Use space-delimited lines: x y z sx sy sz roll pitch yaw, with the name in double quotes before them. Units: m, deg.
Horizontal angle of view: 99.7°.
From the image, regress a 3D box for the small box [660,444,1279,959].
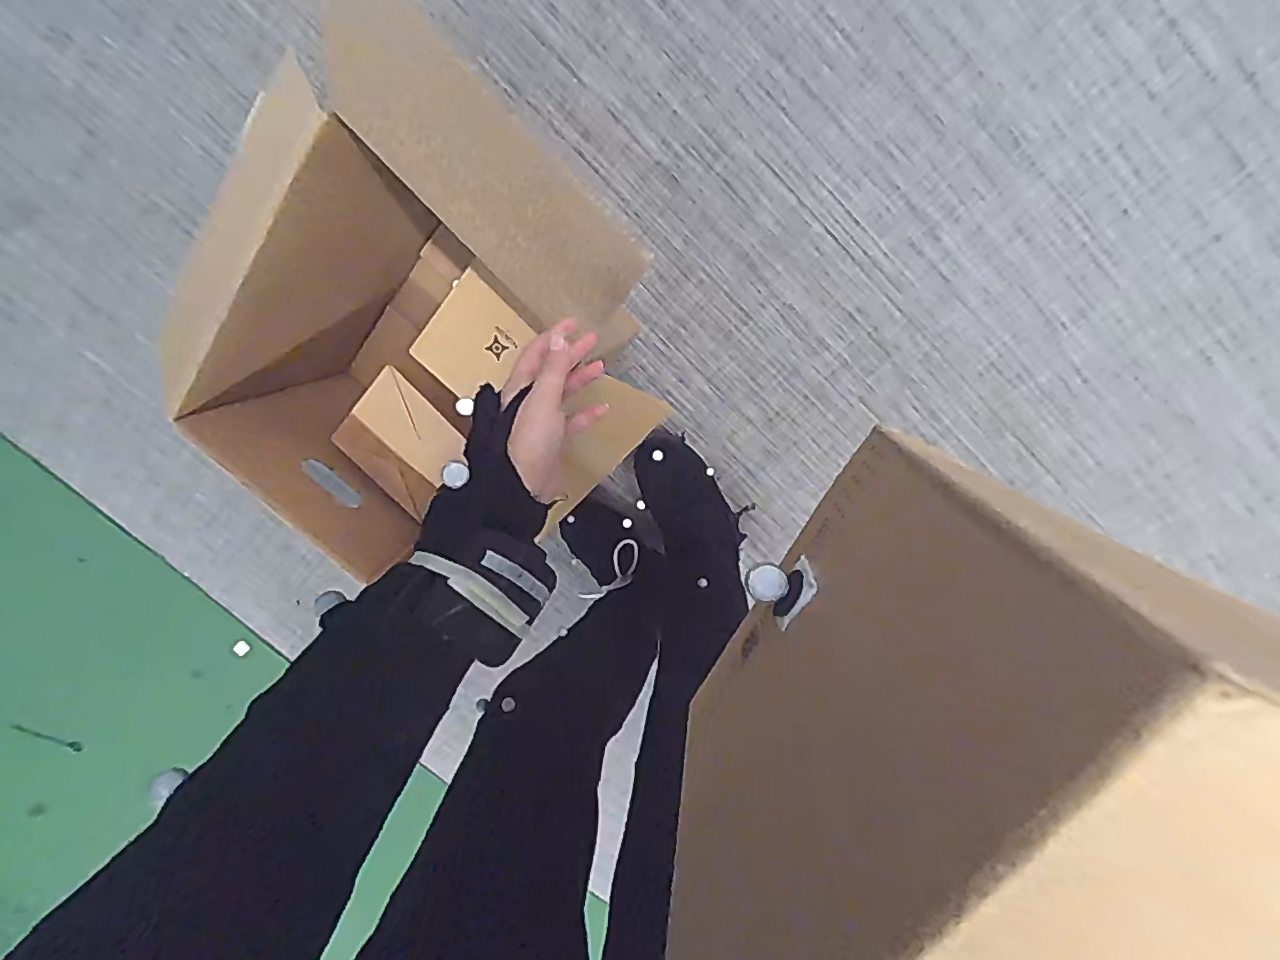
"small box" 0.123 0.103 0.179 0.179 0.176 0.168 26 108 1
